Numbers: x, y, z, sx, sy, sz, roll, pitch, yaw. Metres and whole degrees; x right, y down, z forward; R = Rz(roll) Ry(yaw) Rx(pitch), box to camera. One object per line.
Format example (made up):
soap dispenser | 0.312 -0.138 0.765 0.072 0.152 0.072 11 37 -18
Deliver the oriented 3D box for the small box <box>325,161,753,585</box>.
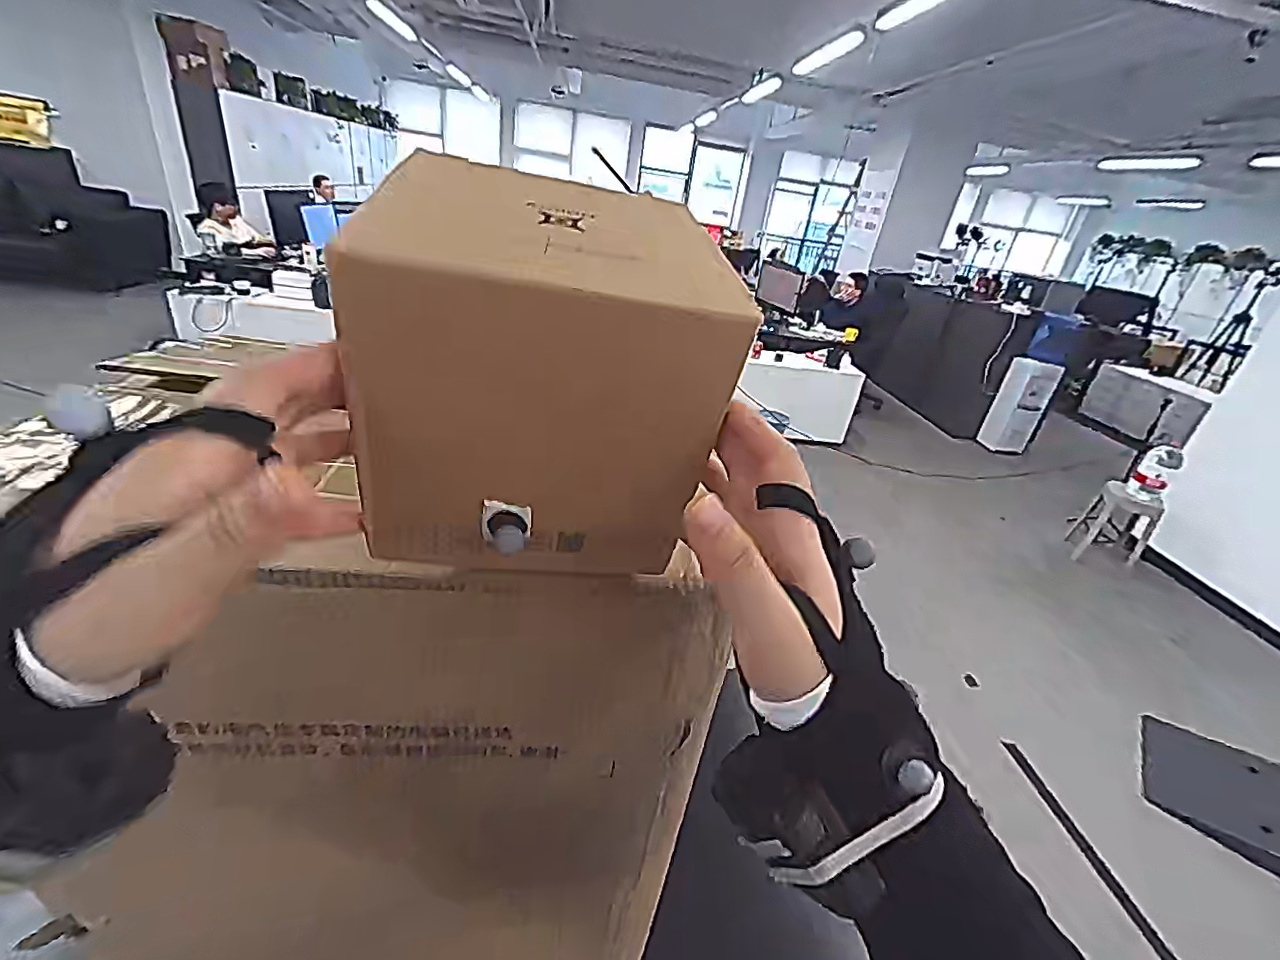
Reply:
small box | -0.059 -0.060 0.317 0.168 0.176 0.179 2 41 -14
